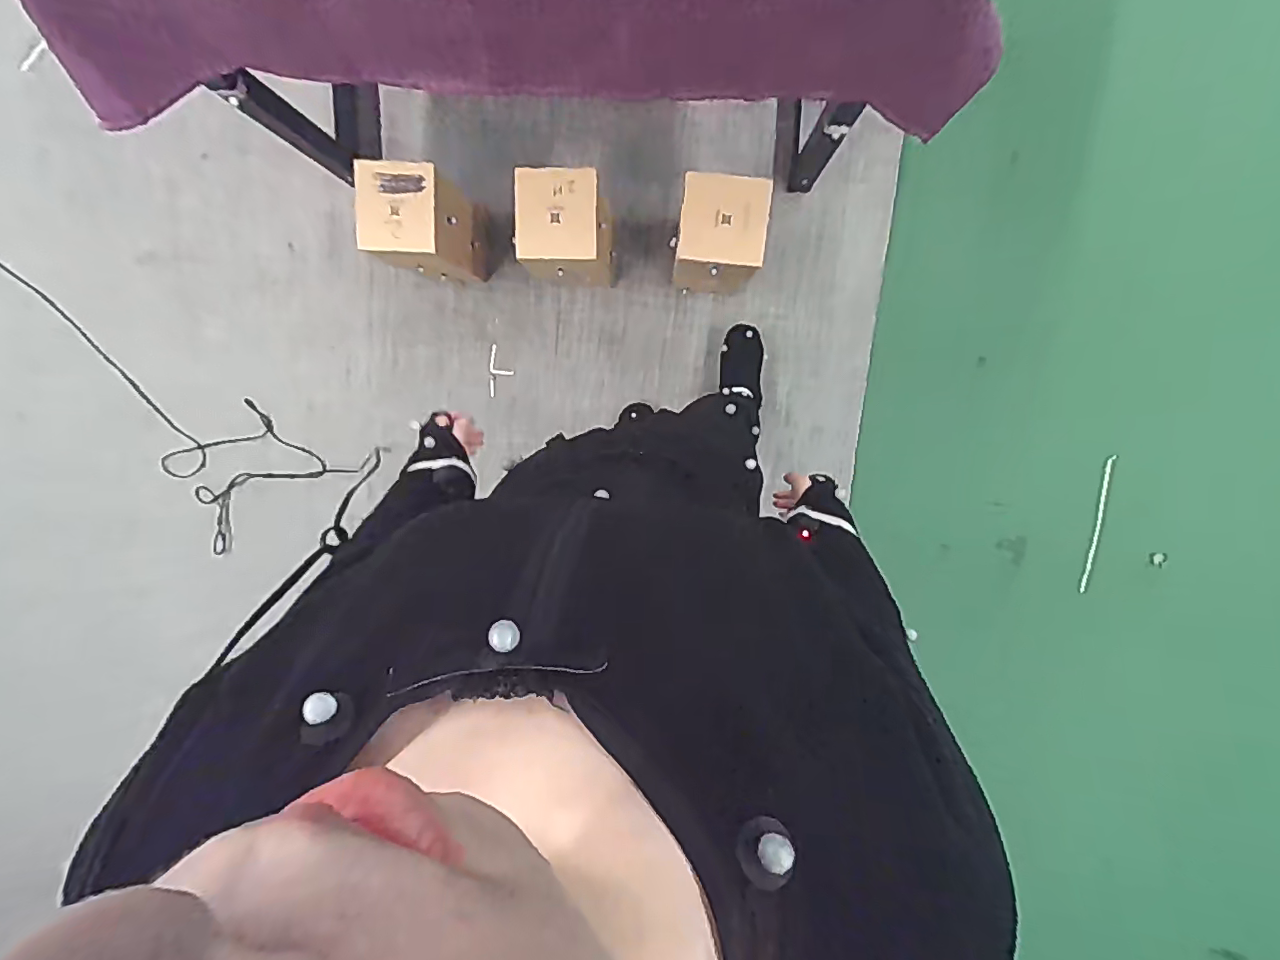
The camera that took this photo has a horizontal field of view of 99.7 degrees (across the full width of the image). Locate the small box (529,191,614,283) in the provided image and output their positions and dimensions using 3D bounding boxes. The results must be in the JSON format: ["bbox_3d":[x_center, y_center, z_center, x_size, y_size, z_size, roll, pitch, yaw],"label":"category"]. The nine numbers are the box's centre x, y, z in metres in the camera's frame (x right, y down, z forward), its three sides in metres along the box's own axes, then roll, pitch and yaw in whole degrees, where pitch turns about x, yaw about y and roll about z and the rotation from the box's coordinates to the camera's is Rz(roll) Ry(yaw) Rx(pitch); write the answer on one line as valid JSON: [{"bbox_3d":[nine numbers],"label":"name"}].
[{"bbox_3d":[-0.163,-0.589,1.327,0.179,0.176,0.168,4,99,2],"label":"small box"}]
